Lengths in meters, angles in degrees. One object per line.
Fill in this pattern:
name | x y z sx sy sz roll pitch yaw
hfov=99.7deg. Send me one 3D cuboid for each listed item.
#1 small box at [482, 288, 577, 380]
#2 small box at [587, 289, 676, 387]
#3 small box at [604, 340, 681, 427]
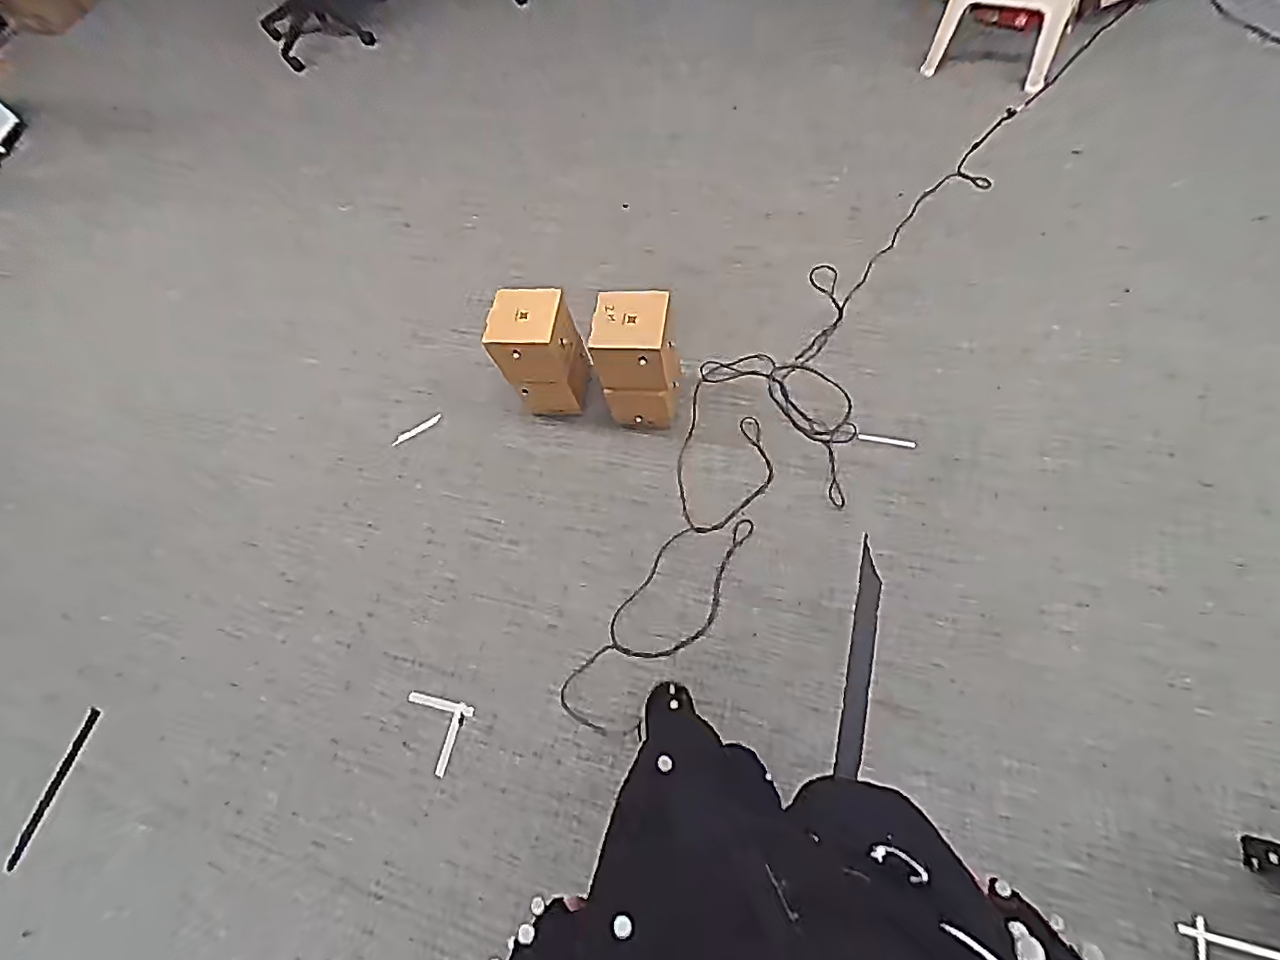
small box | -0.272 -0.367 1.379 0.179 0.176 0.168 3 67 12
small box | -0.011 -0.340 1.316 0.179 0.176 0.168 4 67 13
small box | 0.015 -0.265 1.461 0.168 0.176 0.179 6 69 13
